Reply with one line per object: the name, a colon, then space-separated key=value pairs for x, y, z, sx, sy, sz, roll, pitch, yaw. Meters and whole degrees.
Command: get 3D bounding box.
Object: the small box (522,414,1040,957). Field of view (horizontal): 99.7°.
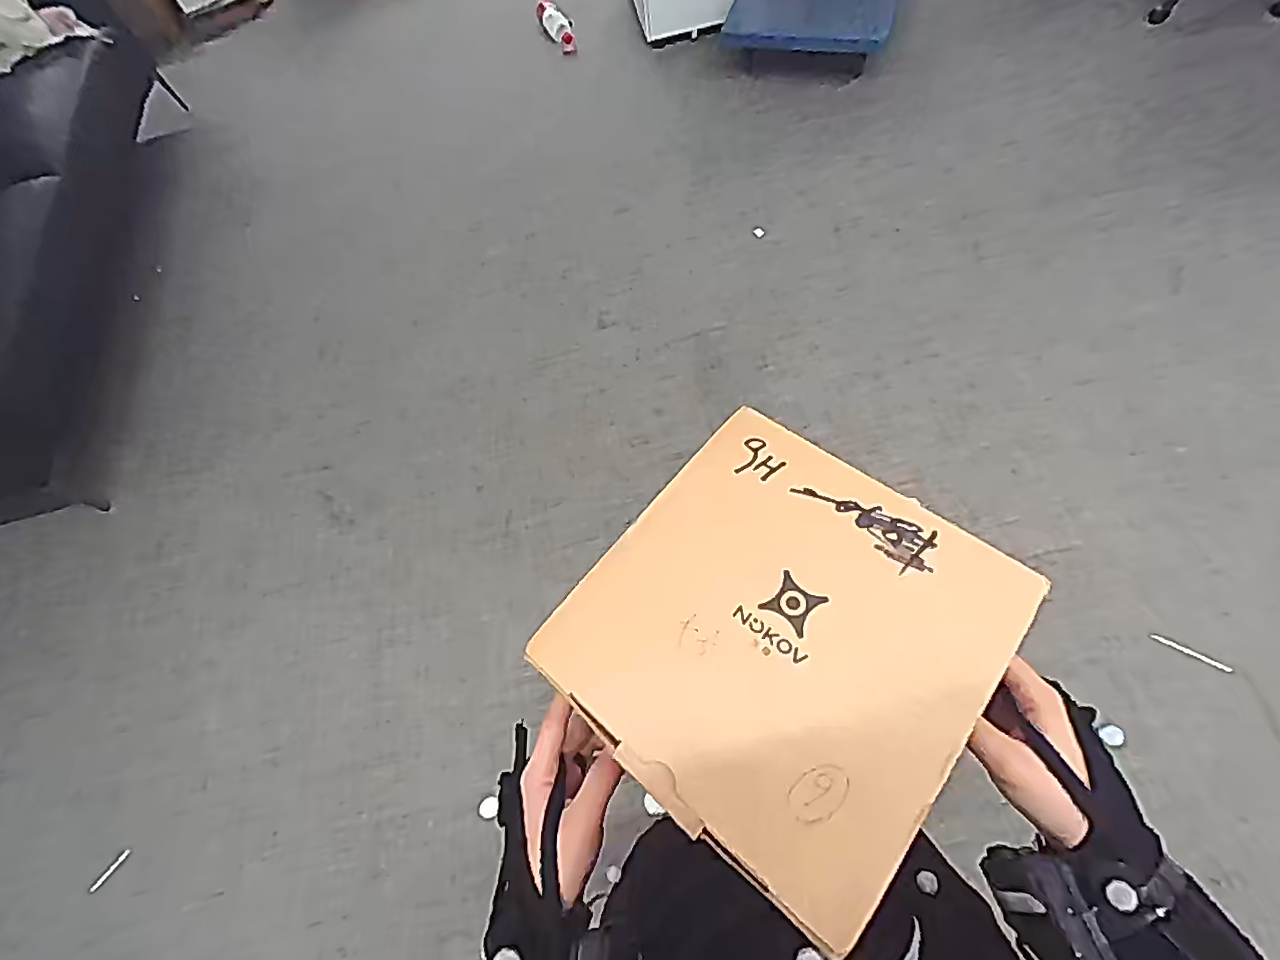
small box: x=0.070 y=0.103 z=0.311 sx=0.168 sy=0.176 sz=0.179 roll=36 pitch=71 yaw=25
